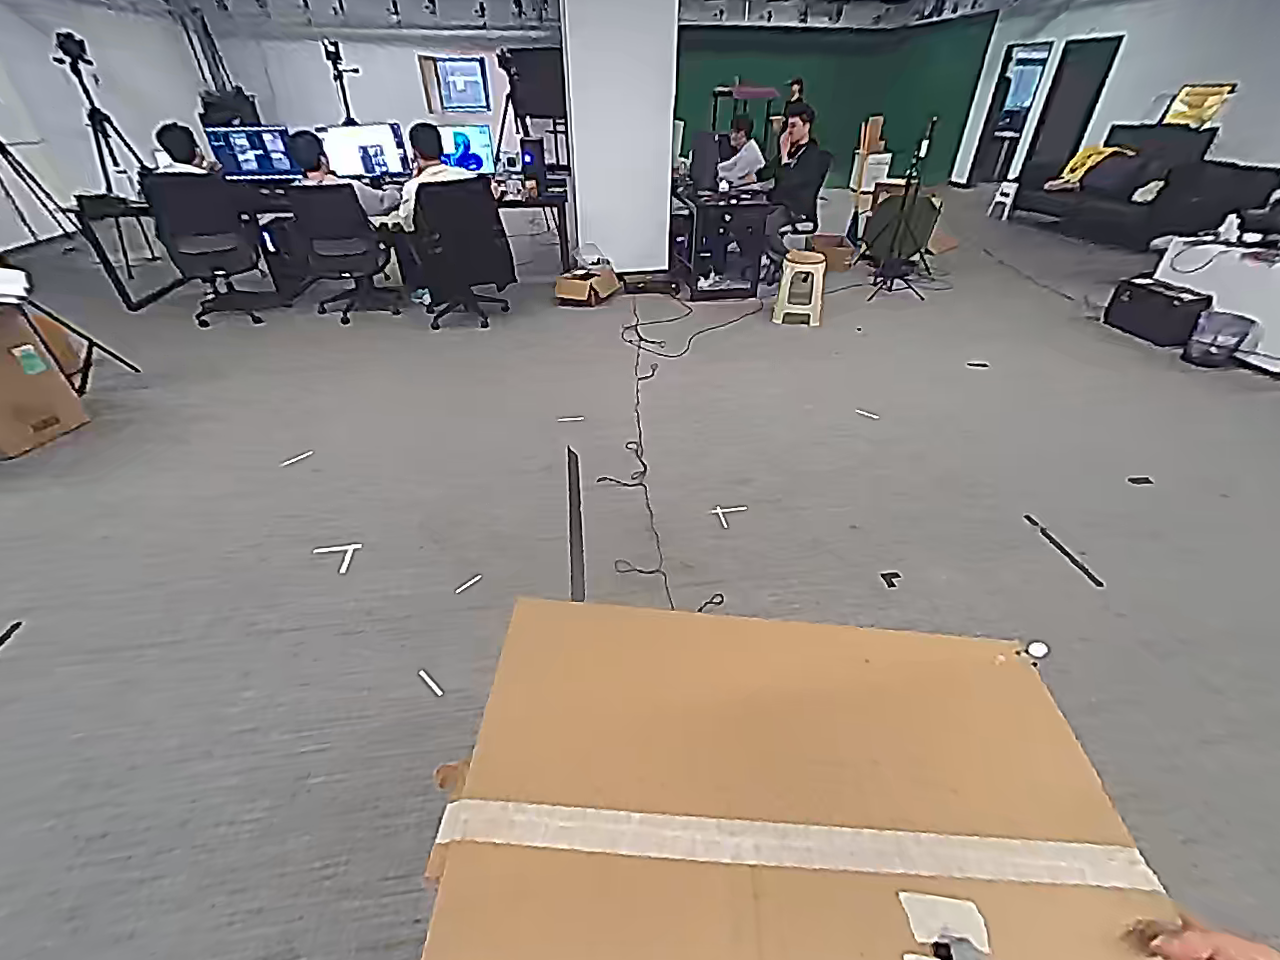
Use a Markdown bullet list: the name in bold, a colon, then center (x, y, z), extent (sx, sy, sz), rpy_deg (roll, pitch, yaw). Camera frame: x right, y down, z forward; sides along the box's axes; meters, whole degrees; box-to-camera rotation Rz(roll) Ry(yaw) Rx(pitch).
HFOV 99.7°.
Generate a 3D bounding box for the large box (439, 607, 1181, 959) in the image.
- **large box**: center (0.082, 0.329, 0.417), extent (0.408, 0.320, 0.320), rpy_deg (6, 41, -2)
